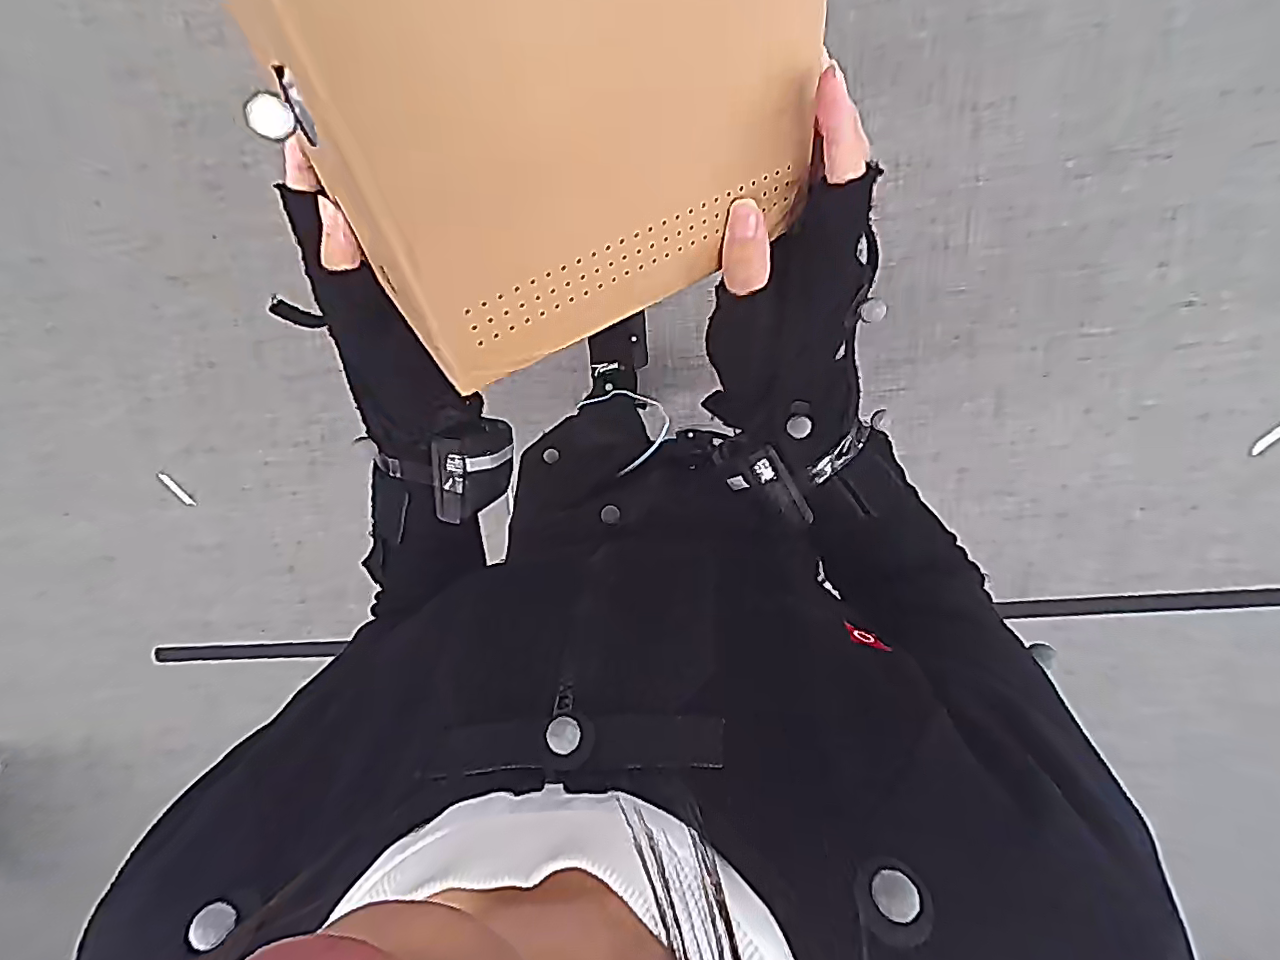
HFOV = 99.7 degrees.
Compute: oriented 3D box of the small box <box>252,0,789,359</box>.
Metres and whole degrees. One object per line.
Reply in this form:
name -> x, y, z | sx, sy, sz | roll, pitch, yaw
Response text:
small box -> -0.048, -0.181, 0.233 | 0.179, 0.176, 0.168 | -31, 52, -17
